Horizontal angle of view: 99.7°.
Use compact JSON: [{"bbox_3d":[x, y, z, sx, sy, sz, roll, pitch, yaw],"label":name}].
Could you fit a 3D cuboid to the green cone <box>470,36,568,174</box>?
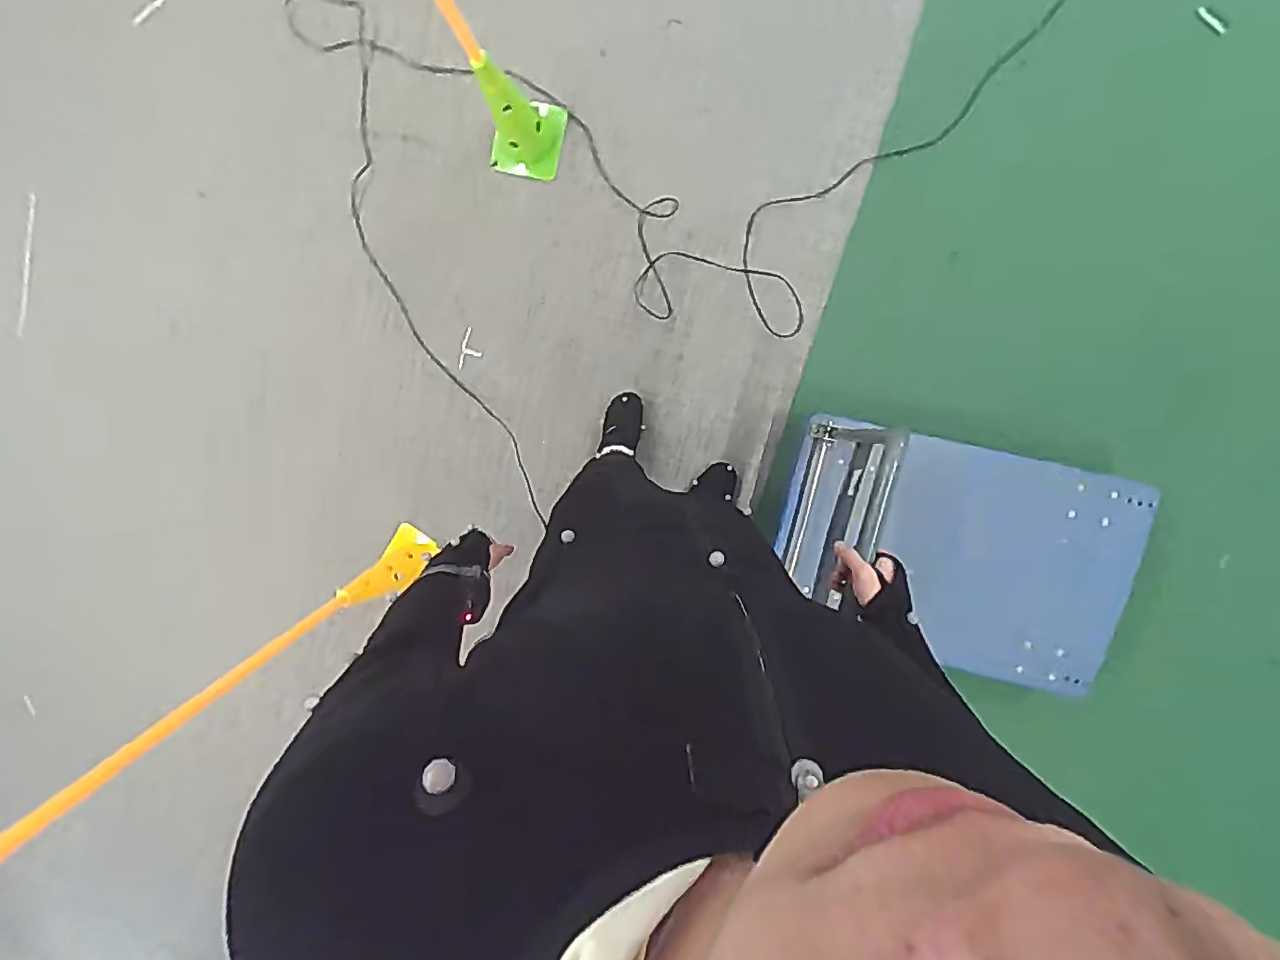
[{"bbox_3d":[-0.335,-0.972,1.370,0.200,0.368,0.202,14,97,5],"label":"green cone"}]
